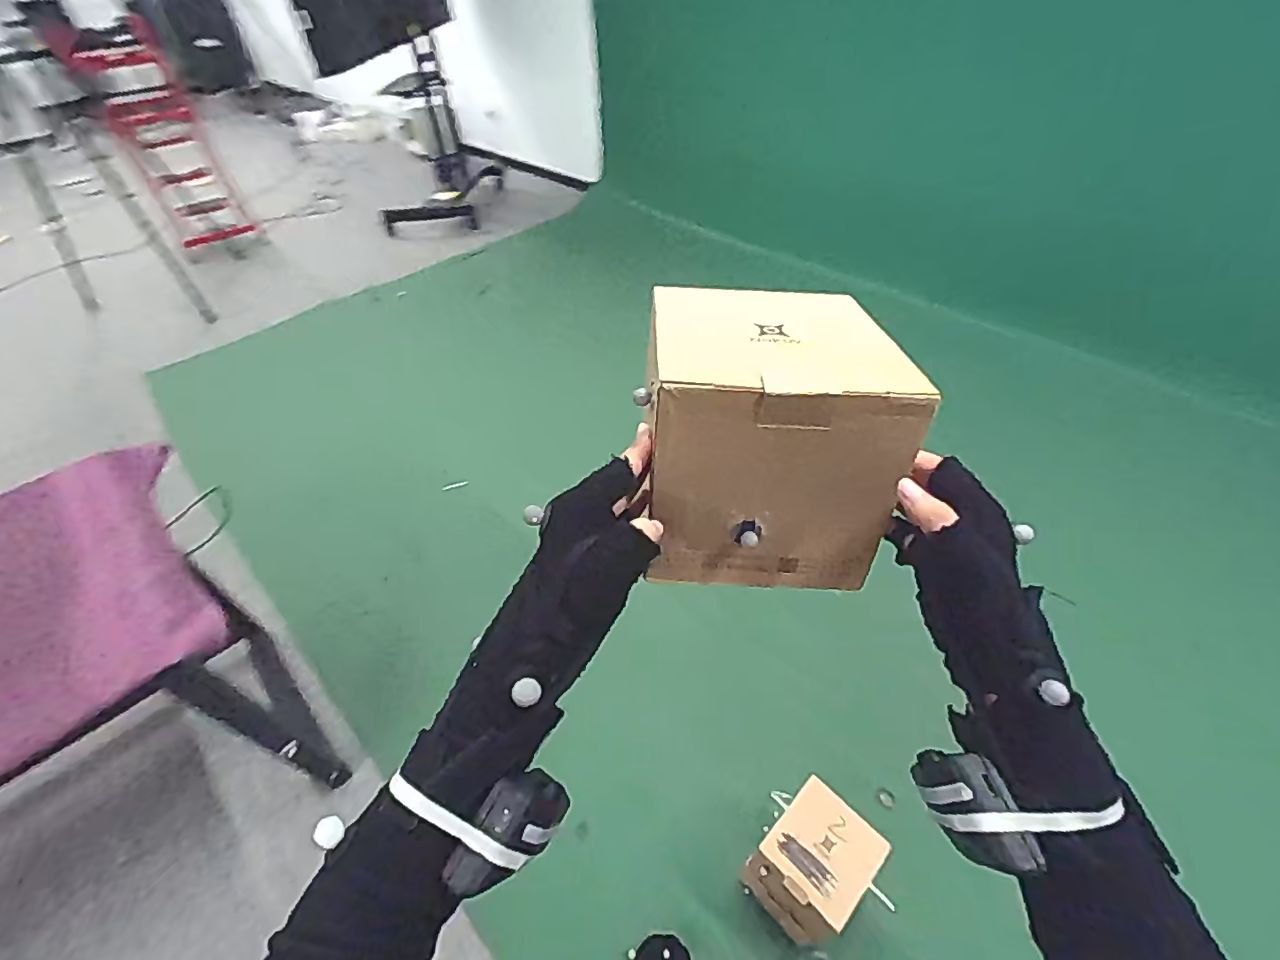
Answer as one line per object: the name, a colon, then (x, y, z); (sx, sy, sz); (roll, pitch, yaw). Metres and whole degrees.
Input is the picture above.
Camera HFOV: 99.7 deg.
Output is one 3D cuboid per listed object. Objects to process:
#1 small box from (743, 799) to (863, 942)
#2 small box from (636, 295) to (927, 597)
small box: (0.332, 0.821, 1.134); (0.179, 0.176, 0.168); (-34, 55, -27)
small box: (0.083, -0.031, 0.428); (0.168, 0.176, 0.179); (1, 38, -2)
